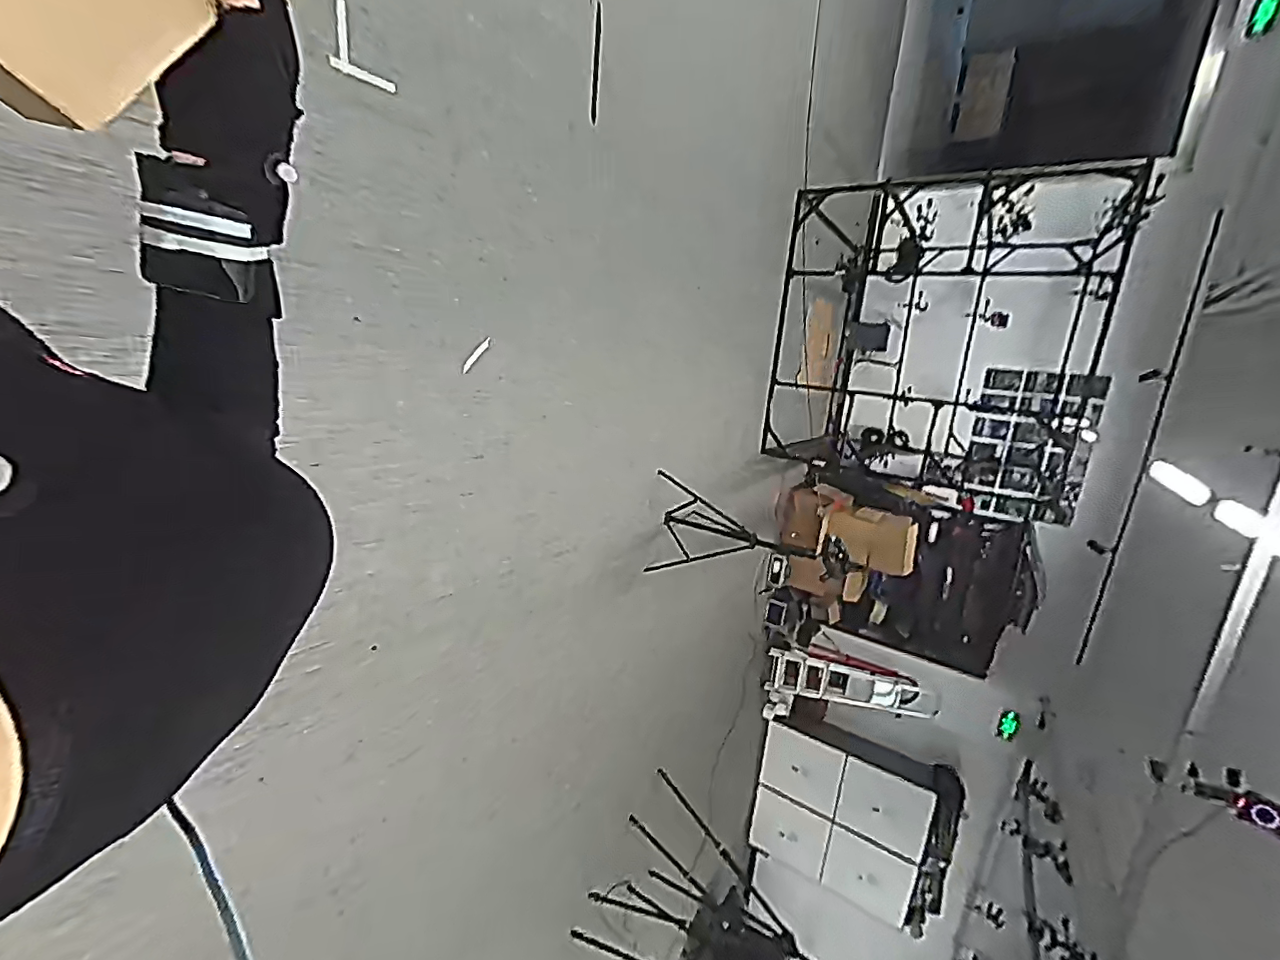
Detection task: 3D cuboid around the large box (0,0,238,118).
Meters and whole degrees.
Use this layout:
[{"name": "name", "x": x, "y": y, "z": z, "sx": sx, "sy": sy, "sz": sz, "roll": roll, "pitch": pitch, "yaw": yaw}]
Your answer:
[{"name": "large box", "x": -0.422, "y": -0.476, "z": 0.264, "sx": 0.320, "sy": 0.320, "sz": 0.408, "roll": -56, "pitch": 147, "yaw": -9}]
